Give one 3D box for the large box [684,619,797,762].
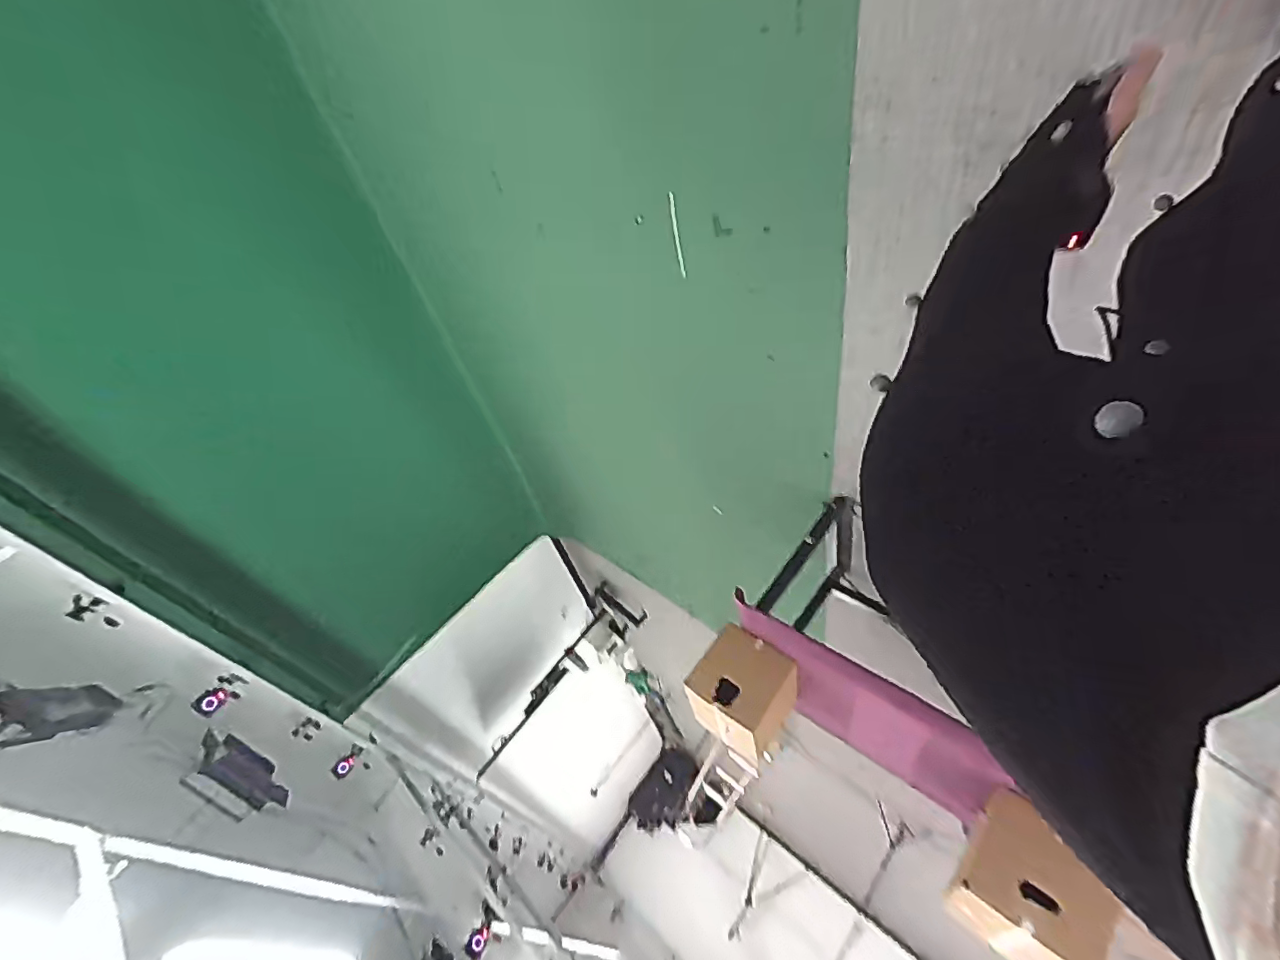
[{"bbox_3d":[0.412,0.831,2.142,0.320,0.320,0.408,25,148,33],"label":"large box"}]
